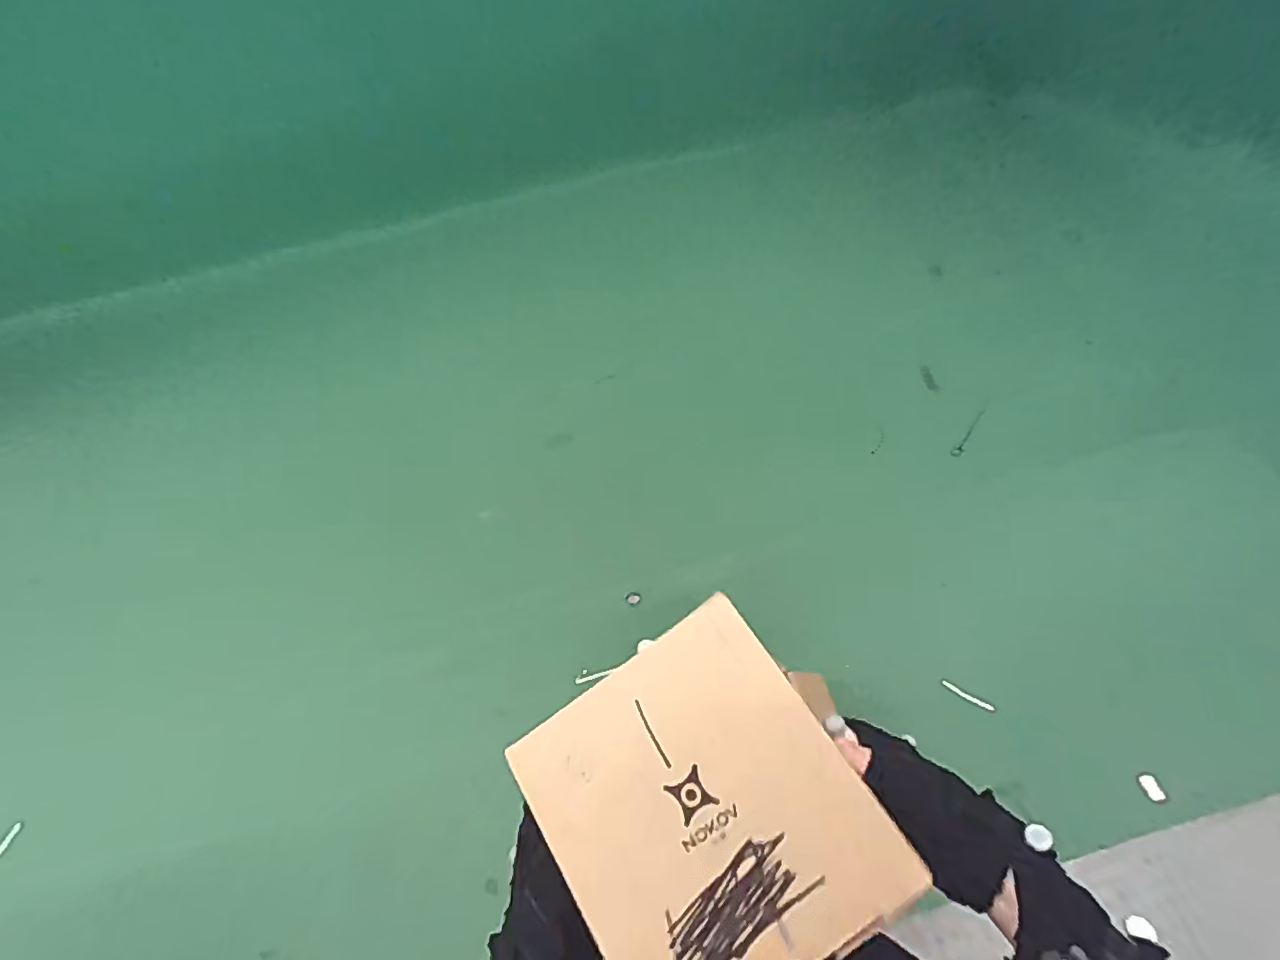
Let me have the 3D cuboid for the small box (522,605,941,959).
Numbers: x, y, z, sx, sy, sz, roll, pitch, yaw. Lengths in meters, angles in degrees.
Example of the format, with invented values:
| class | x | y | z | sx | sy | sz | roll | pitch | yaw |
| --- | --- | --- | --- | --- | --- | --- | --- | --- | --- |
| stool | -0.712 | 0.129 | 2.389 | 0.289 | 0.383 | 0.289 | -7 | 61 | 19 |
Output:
| class | x | y | z | sx | sy | sz | roll | pitch | yaw |
| --- | --- | --- | --- | --- | --- | --- | --- | --- | --- |
| small box | 0.055 | 0.205 | 0.368 | 0.168 | 0.176 | 0.179 | -33 | 69 | 0 |
